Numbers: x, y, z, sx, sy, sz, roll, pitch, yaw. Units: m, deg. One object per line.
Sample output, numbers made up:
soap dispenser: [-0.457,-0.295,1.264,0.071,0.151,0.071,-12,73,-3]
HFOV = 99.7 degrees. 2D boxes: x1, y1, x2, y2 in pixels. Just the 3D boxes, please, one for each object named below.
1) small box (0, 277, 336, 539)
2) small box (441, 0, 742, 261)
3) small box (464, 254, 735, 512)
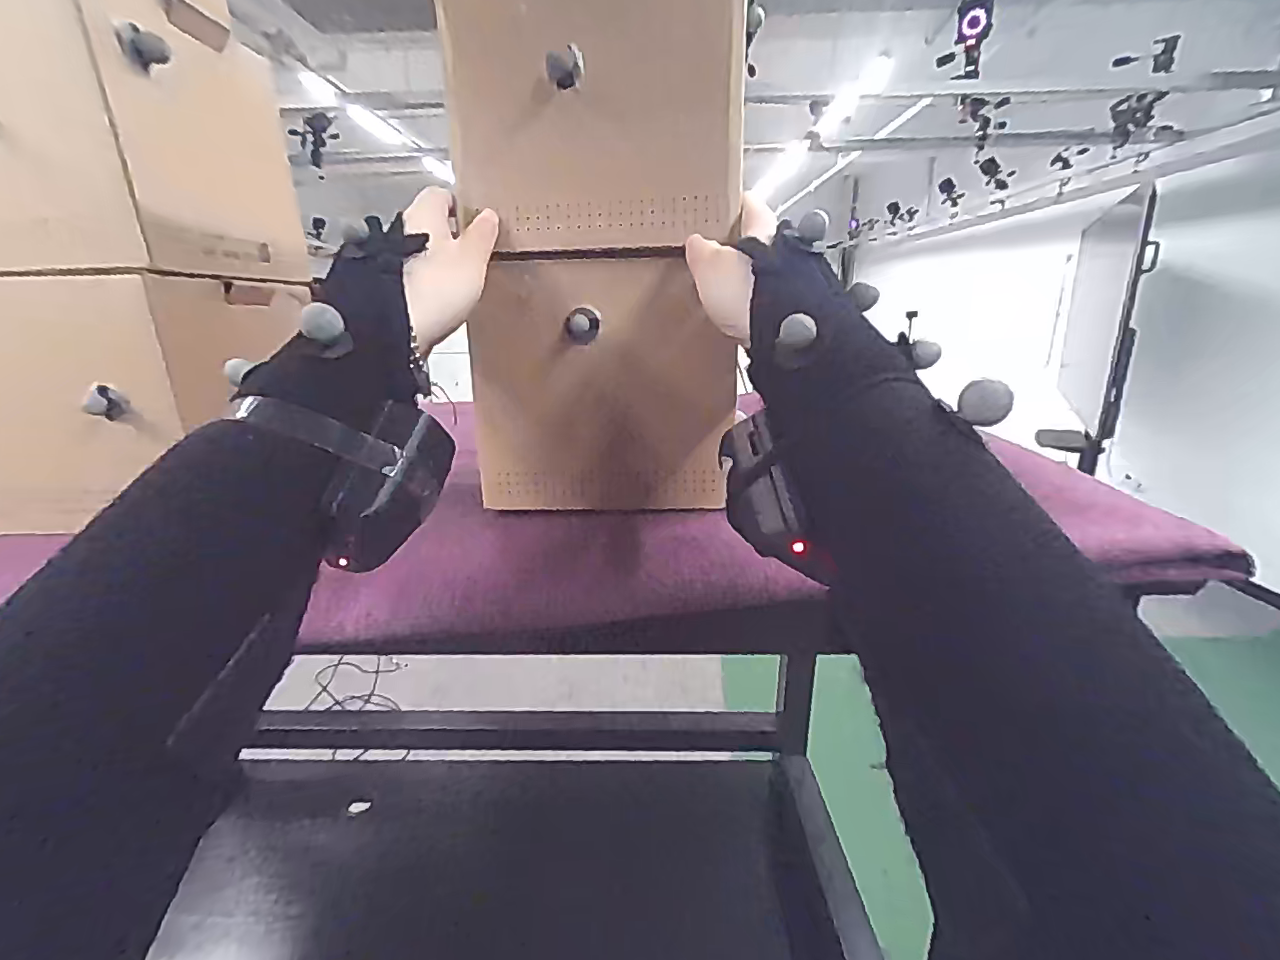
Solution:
small box: [-0.370,-0.061,0.417,0.179,0.176,0.168,-2,17,0]
small box: [-0.021,-0.234,0.386,0.179,0.176,0.168,0,15,6]
small box: [-0.021,-0.076,0.432,0.179,0.176,0.168,1,15,3]
